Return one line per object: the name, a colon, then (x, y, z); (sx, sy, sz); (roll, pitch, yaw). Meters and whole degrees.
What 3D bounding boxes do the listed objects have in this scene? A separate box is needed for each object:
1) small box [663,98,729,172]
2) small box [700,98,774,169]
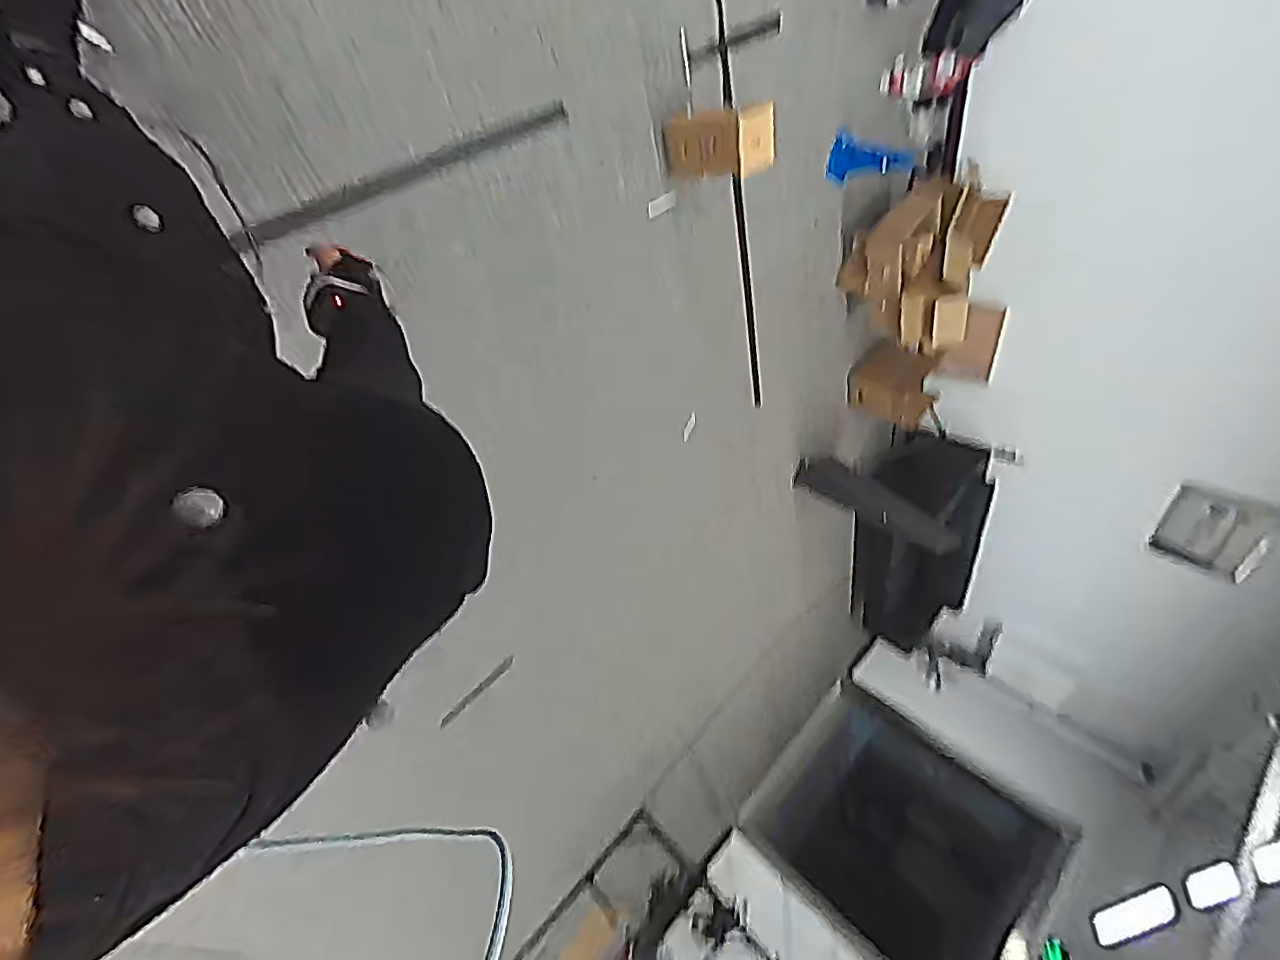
small box: (0.204, -1.204, 1.886); (0.168, 0.176, 0.179); (-41, 137, -22)
small box: (0.321, -1.149, 1.786); (0.179, 0.176, 0.168); (-37, 137, -24)
